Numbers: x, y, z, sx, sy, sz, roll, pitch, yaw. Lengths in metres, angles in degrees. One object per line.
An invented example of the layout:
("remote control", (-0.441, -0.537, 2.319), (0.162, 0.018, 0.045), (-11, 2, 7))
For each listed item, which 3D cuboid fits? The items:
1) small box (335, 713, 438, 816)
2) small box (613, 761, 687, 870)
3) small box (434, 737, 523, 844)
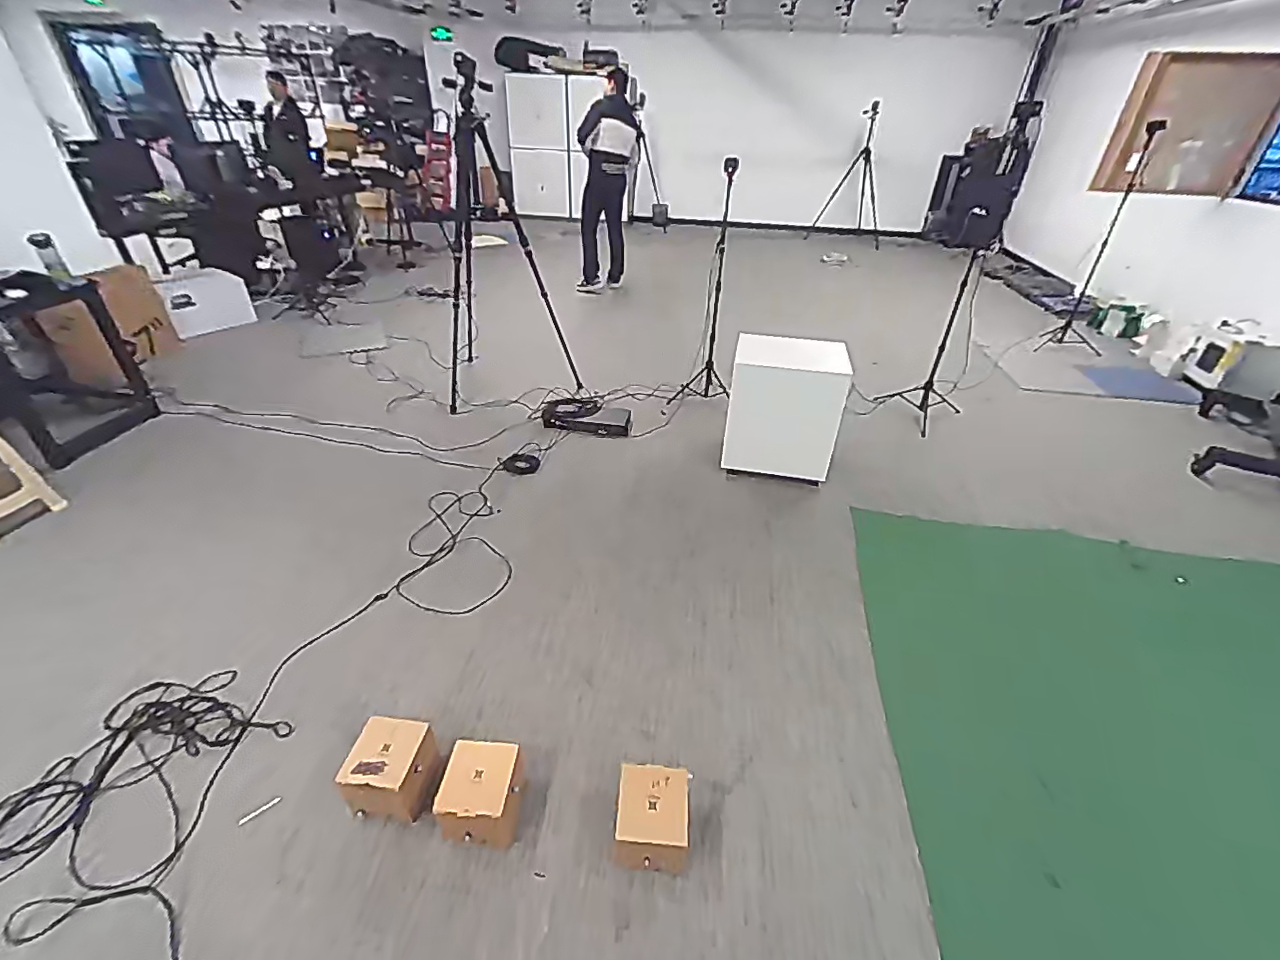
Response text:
("small box", (-0.646, 0.739, 1.403), (0.168, 0.176, 0.179), (5, 34, 4))
("small box", (0.026, 0.822, 1.324), (0.168, 0.176, 0.179), (5, 36, 2))
("small box", (-0.397, 0.779, 1.362), (0.168, 0.176, 0.179), (3, 36, 2))
